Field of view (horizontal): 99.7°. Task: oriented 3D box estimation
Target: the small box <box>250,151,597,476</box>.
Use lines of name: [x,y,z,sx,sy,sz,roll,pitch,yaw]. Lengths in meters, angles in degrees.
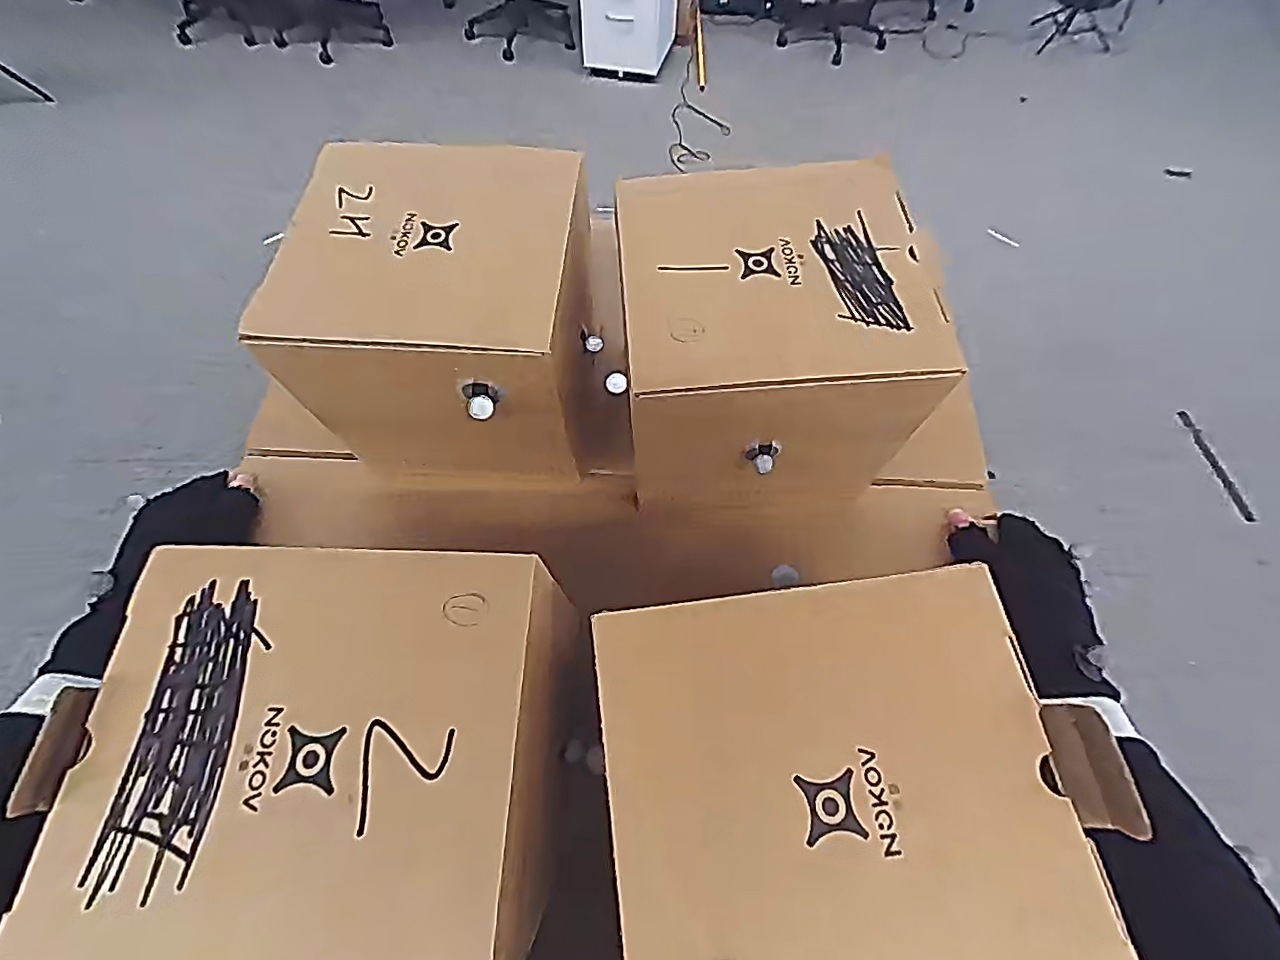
small box: [-0.130,-0.113,0.411,0.179,0.176,0.168,4,64,3]
